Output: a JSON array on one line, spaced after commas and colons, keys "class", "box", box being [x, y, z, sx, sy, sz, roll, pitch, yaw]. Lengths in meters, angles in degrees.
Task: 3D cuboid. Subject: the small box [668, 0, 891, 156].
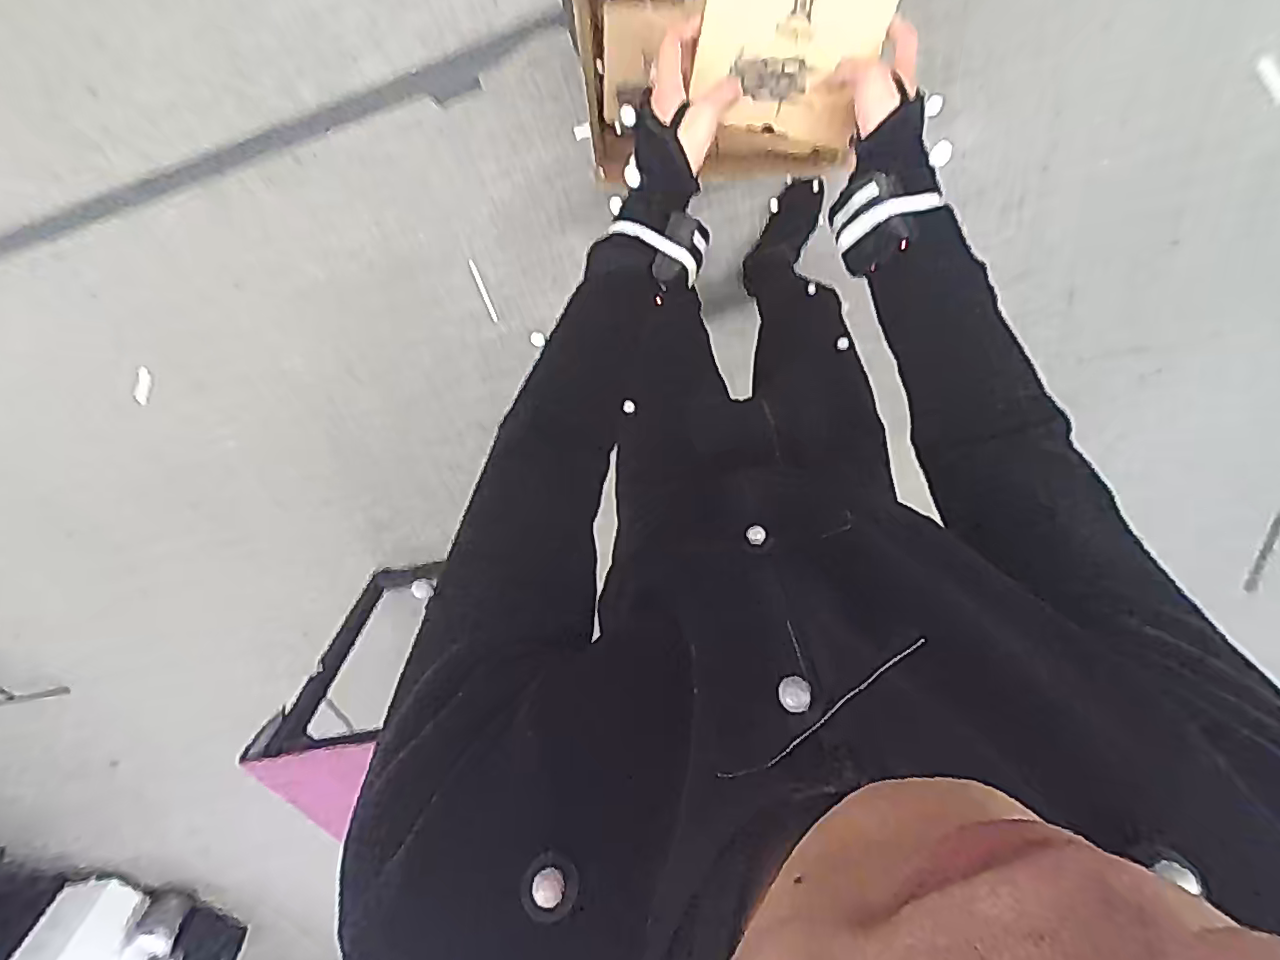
[{"class": "small box", "box": [0.125, -0.446, 0.529, 0.168, 0.176, 0.179, 6, 129, -9]}]

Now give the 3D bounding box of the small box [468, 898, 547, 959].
[{"class": "small box", "box": [-0.414, 1.463, 1.714, 0.179, 0.176, 0.168, -17, 122, 11]}]
